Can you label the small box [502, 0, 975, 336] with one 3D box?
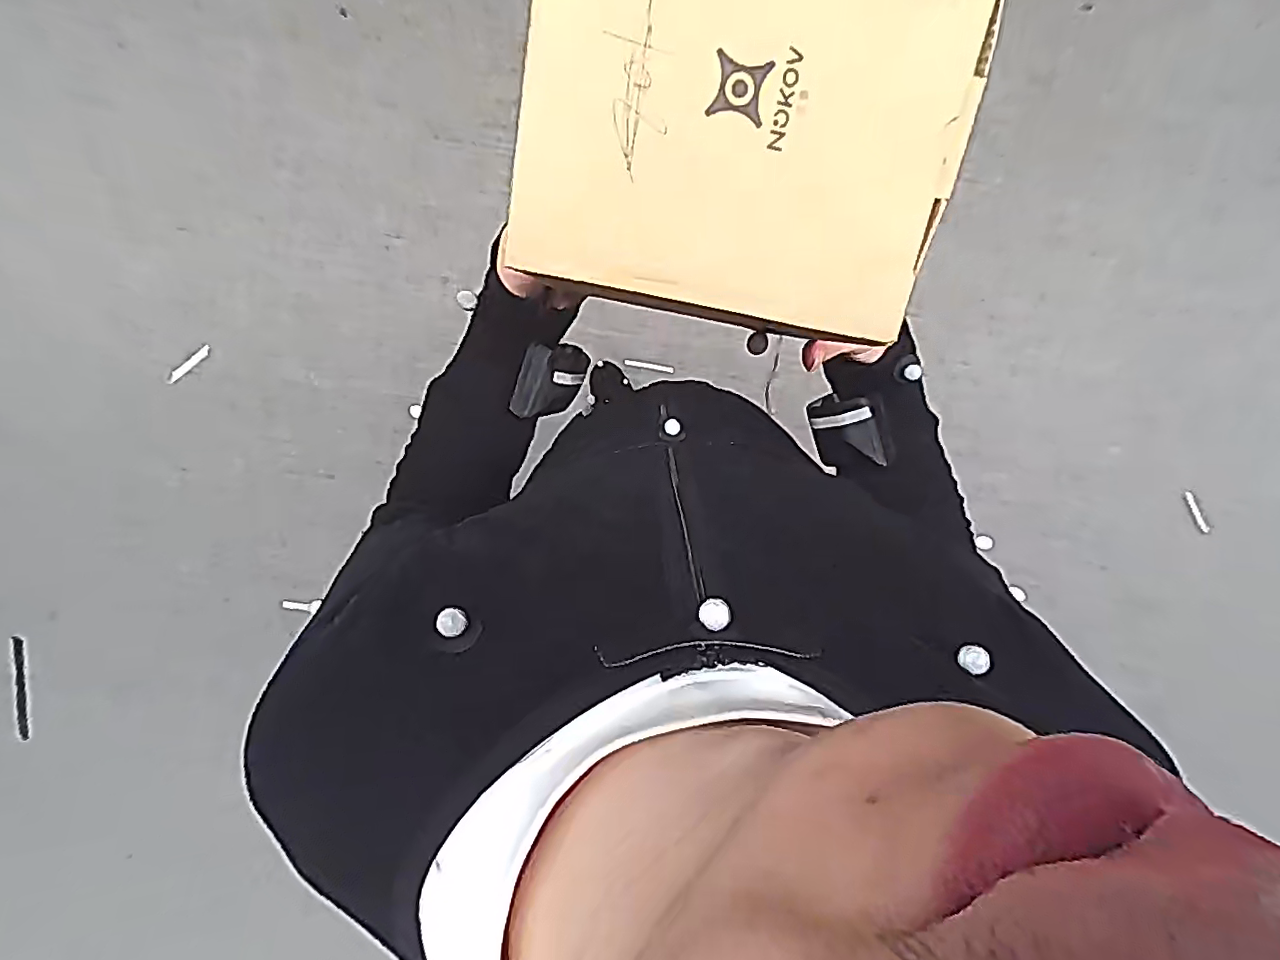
[{"bbox_3d":[0.038,-0.181,0.300,0.179,0.176,0.168,10,105,-3],"label":"small box"}]
